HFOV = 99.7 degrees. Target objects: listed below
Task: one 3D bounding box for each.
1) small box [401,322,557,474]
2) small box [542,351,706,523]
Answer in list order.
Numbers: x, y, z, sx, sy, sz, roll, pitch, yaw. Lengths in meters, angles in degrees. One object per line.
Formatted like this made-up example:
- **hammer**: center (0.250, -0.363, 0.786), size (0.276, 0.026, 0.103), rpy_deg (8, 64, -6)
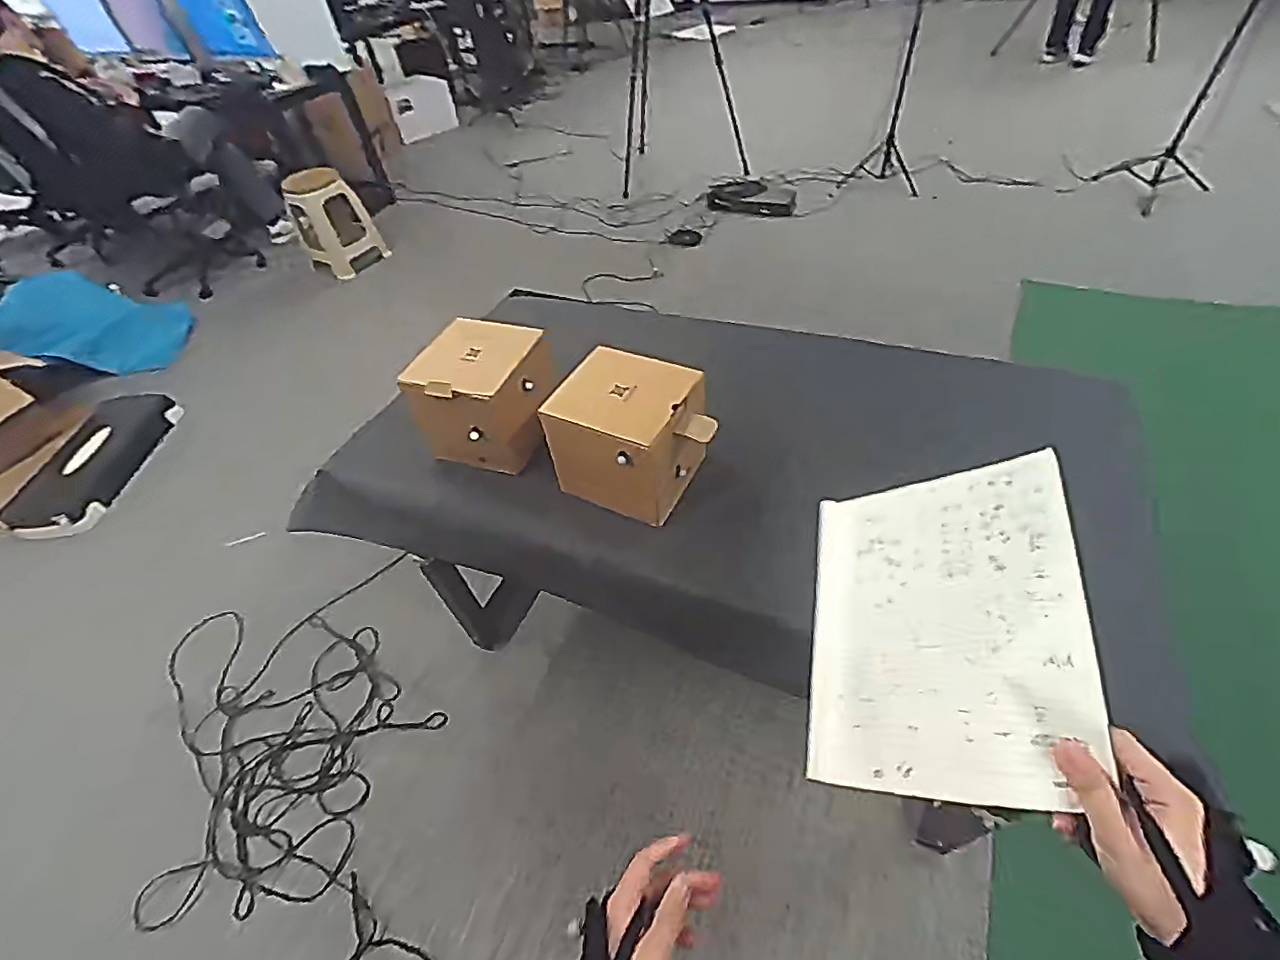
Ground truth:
- **small box**: center (-0.246, -0.133, 0.890), size (0.168, 0.176, 0.179), rpy_deg (12, 49, 16)
- **small box**: center (-0.015, -0.062, 0.798), size (0.179, 0.176, 0.168), rpy_deg (19, 52, 22)
